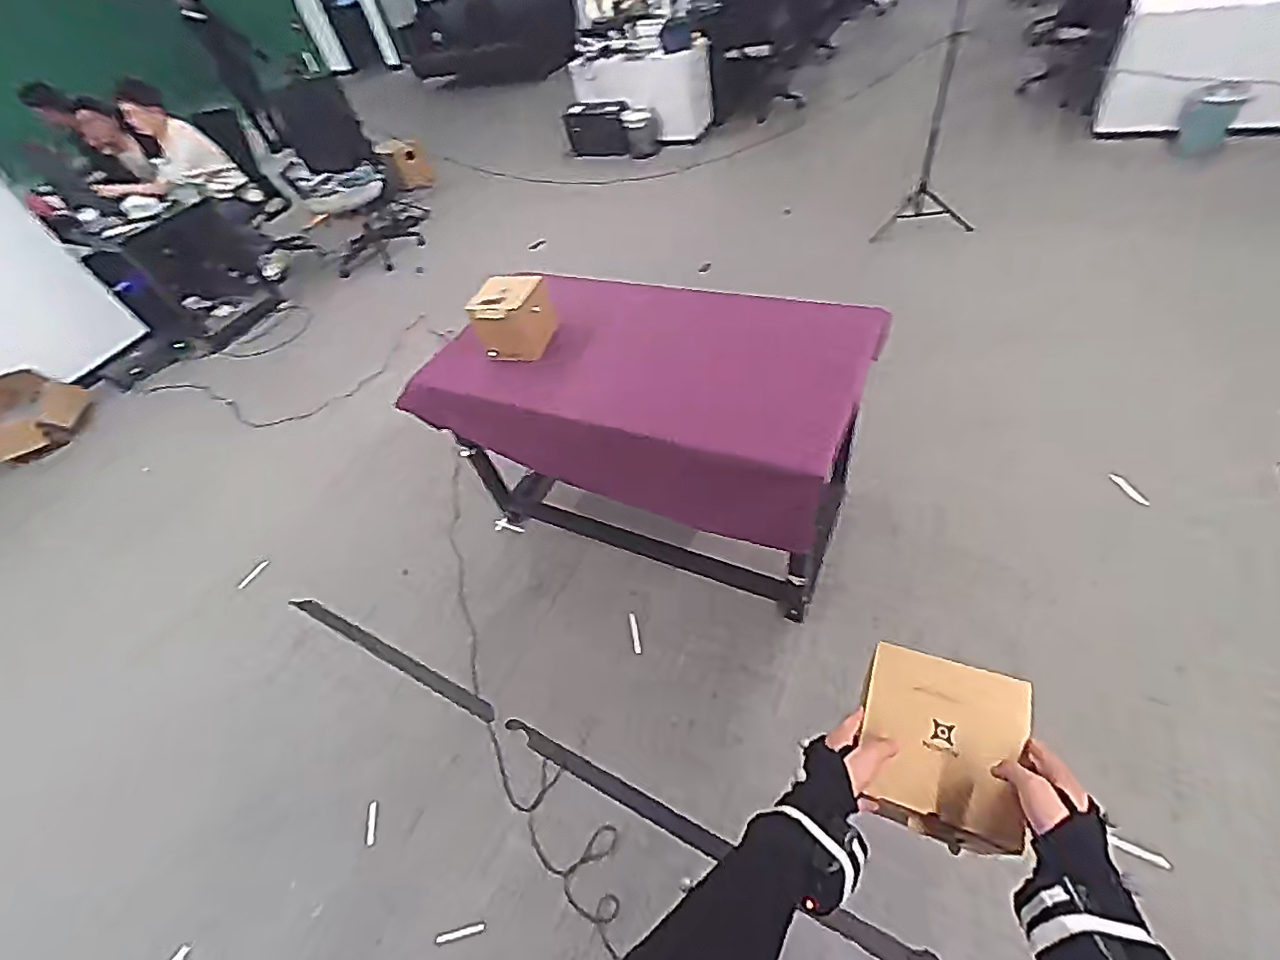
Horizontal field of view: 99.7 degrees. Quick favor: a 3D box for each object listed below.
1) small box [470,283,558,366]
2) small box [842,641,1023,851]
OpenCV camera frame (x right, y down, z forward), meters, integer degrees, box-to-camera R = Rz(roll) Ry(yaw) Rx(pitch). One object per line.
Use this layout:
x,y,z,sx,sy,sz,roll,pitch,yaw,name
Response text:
-0.355,-0.448,1.569,0.168,0.176,0.179,5,51,18,small box
0.351,0.330,0.671,0.168,0.176,0.179,11,60,23,small box
